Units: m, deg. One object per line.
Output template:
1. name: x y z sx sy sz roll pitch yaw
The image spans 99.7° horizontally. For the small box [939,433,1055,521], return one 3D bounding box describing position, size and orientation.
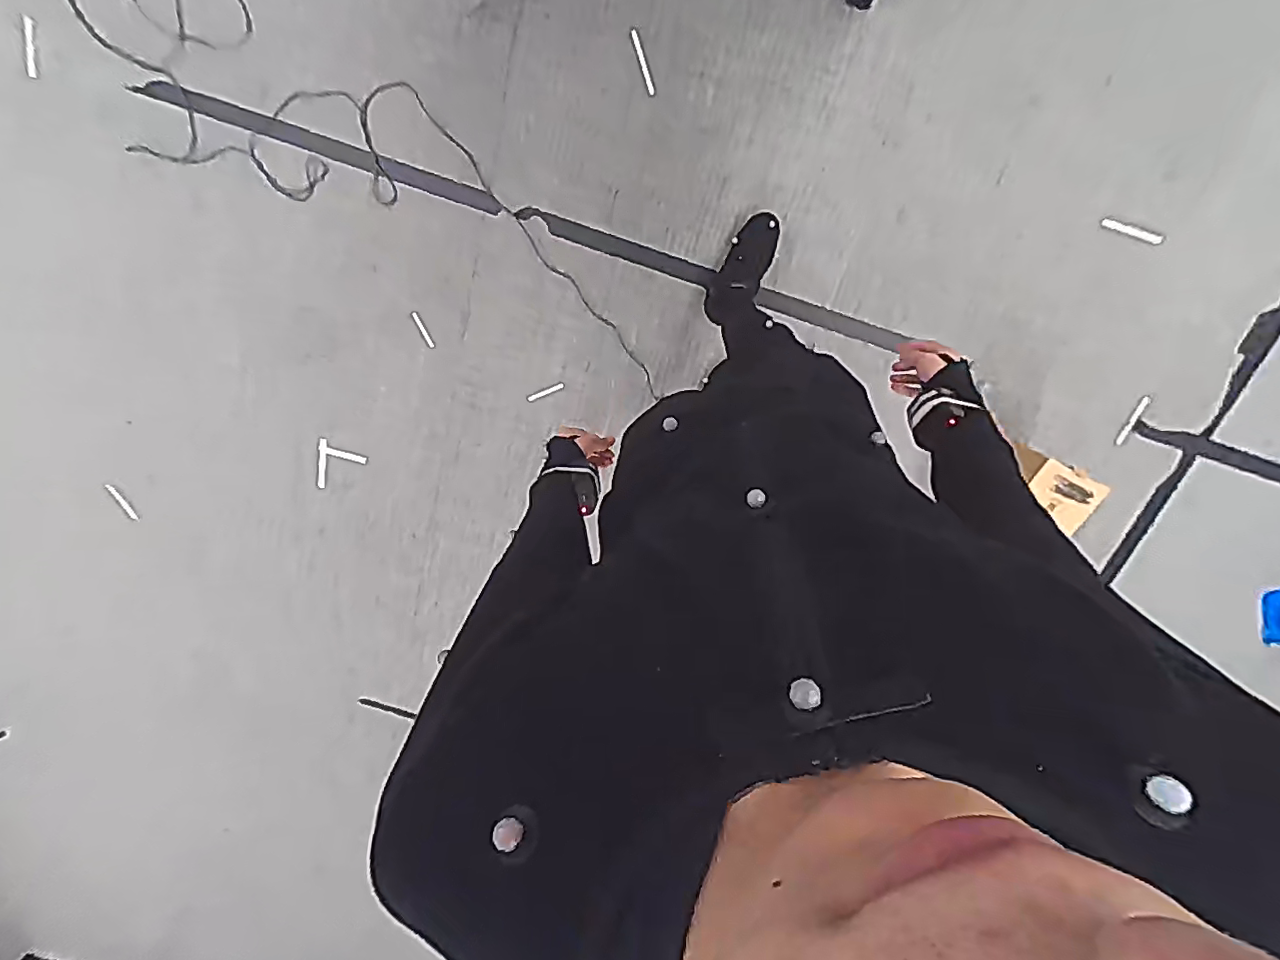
1. small box: 0.965 -0.017 1.483 0.179 0.176 0.168 21 110 -2
